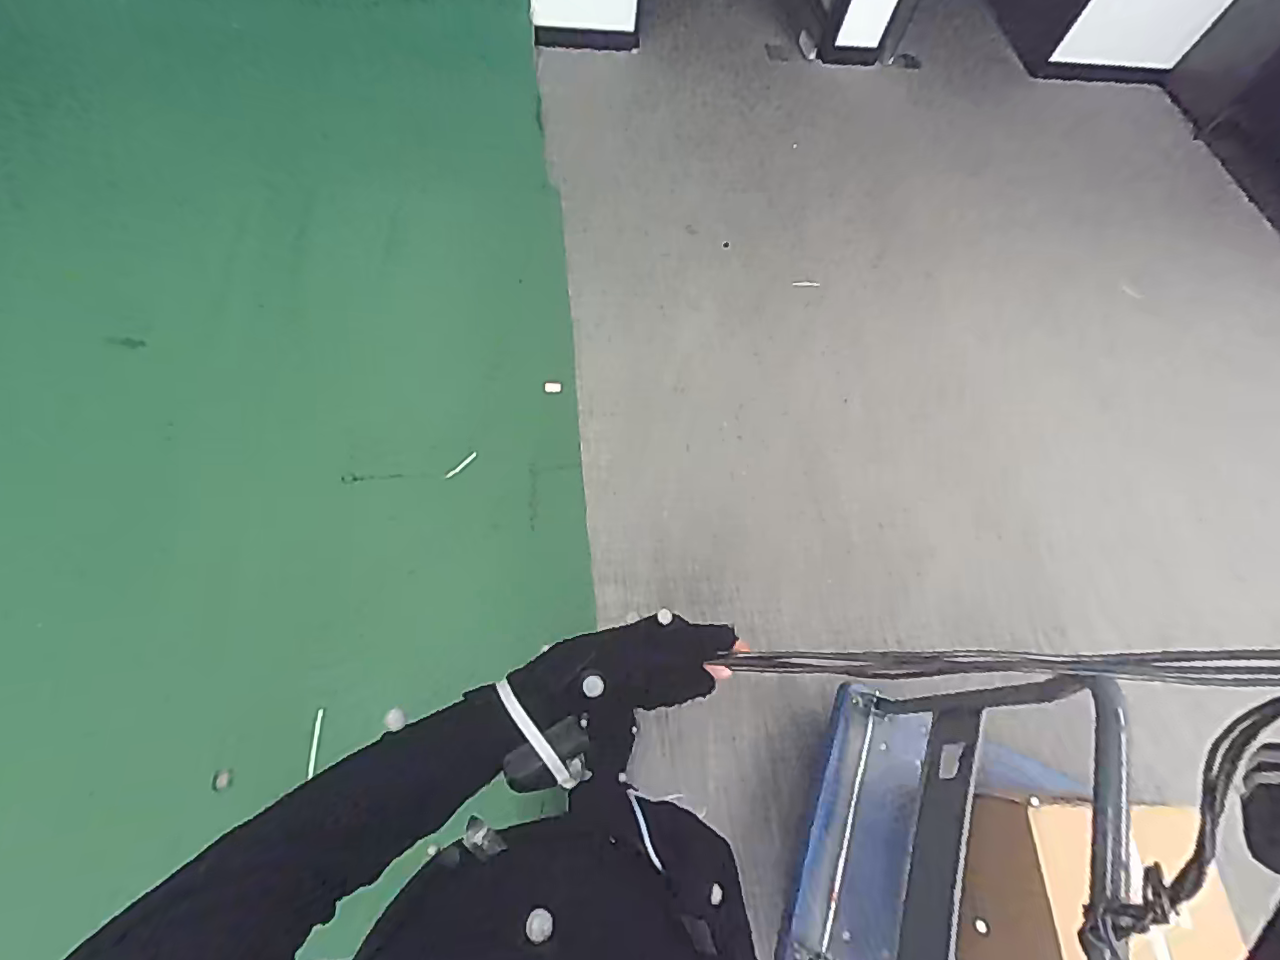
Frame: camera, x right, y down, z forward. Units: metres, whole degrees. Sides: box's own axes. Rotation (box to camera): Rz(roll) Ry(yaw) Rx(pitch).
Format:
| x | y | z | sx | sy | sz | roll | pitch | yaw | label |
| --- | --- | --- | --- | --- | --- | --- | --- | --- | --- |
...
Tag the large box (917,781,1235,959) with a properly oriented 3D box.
| x | y | z | sx | sy | sz | roll | pitch | yaw | label |
| --- | --- | --- | --- | --- | --- | --- | --- | --- | --- |
| 0.758 | 0.781 | 0.967 | 0.320 | 0.320 | 0.408 | 4 | 64 | -6 | large box |
